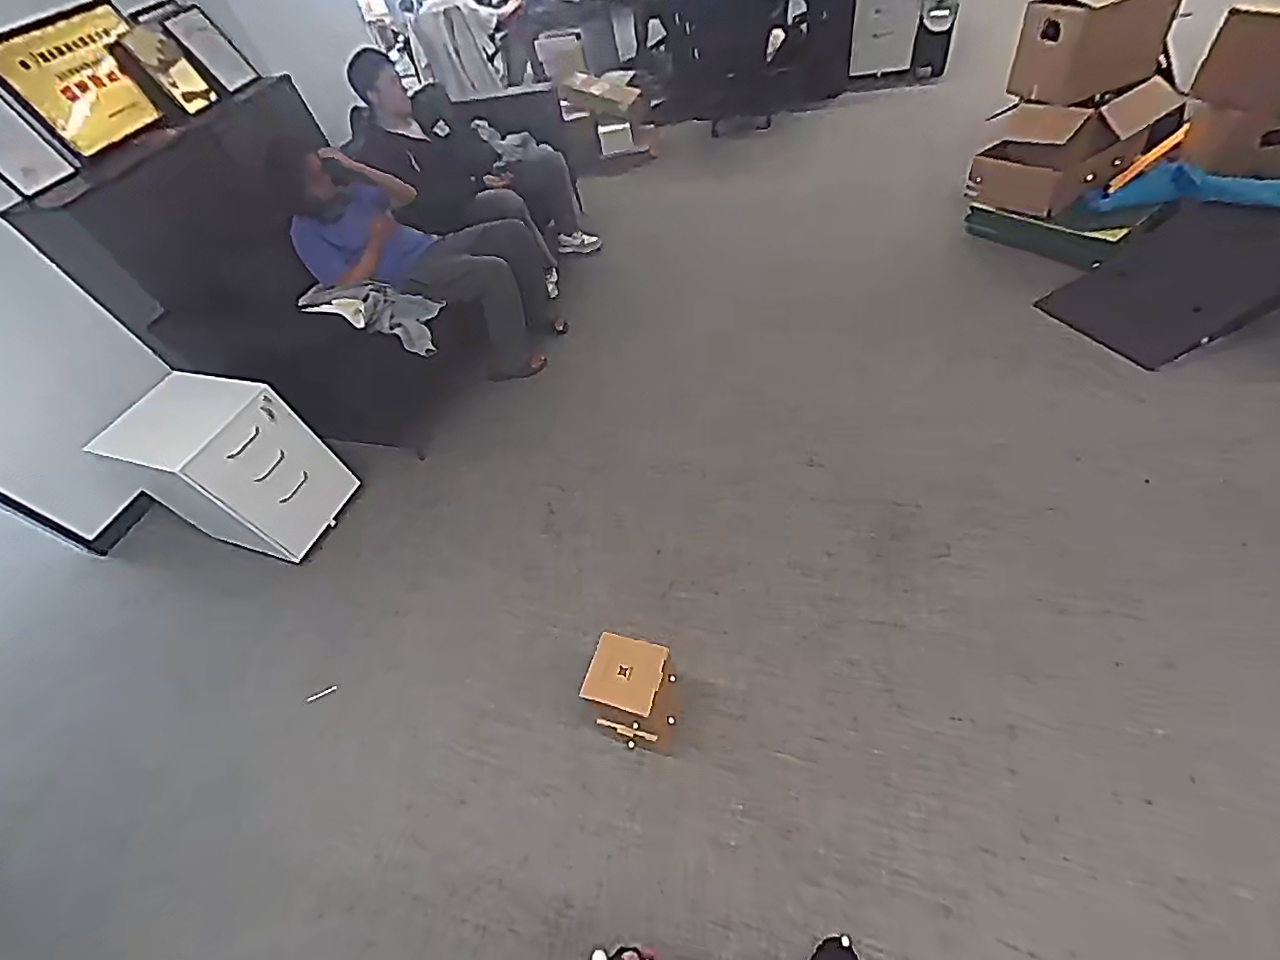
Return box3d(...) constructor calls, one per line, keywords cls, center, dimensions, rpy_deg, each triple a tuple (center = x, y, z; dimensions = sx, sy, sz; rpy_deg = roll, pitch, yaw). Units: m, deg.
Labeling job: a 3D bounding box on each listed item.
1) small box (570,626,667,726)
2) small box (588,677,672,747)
box3d(cls="small box", center=(-0.043, 0.484, 1.324), dimensions=(0.179, 0.176, 0.168), rpy_deg=(8, 53, 20))
box3d(cls="small box", center=(-0.019, 0.598, 1.463), dimensions=(0.168, 0.176, 0.179), rpy_deg=(7, 54, 19))
